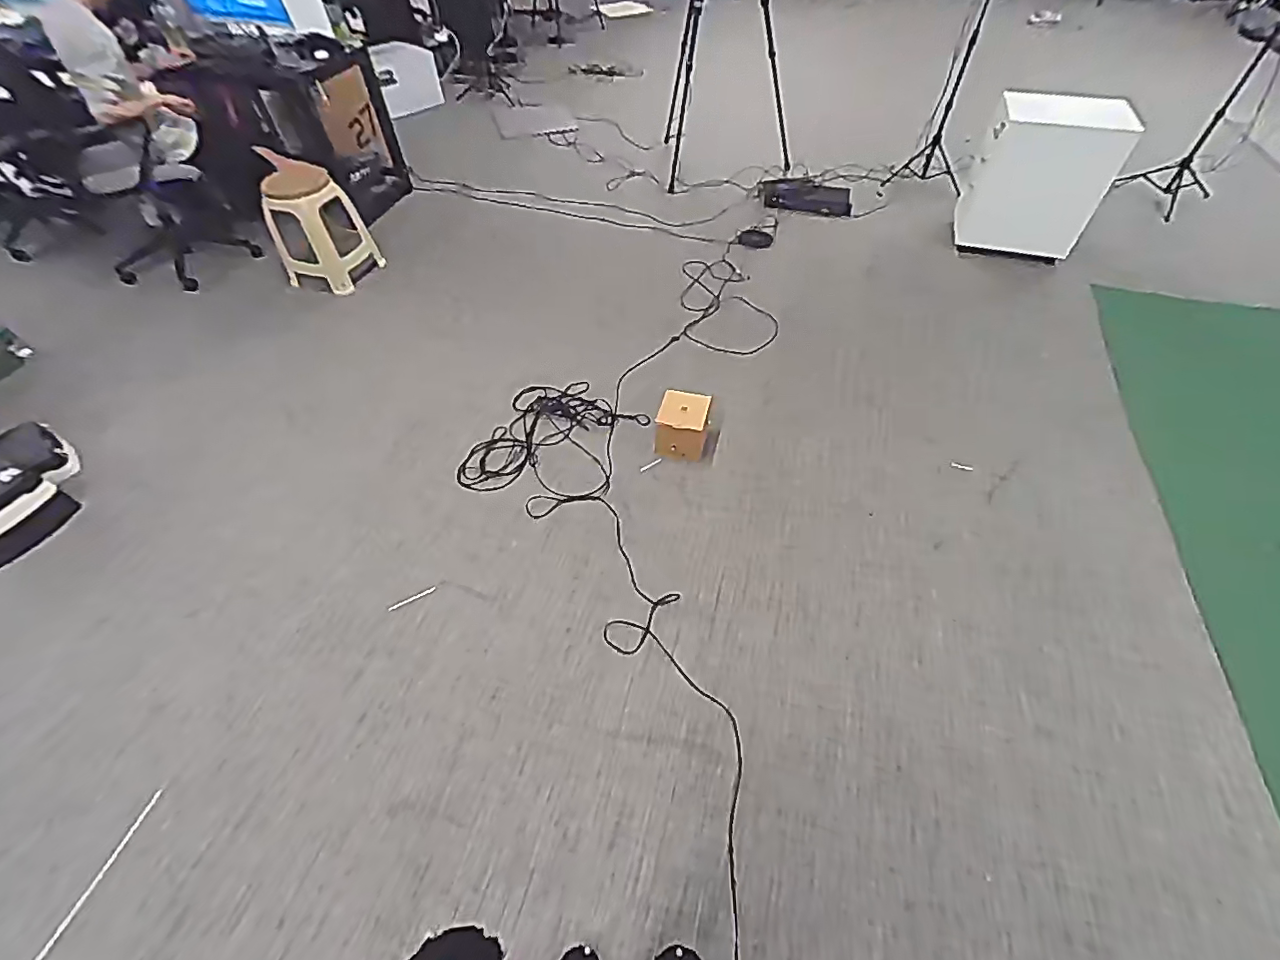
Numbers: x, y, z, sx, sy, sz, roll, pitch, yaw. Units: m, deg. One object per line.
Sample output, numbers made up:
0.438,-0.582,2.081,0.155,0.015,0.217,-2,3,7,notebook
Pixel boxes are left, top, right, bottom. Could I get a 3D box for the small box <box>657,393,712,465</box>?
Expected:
0.158,-0.181,1.940,0.168,0.176,0.179,11,53,11,small box
